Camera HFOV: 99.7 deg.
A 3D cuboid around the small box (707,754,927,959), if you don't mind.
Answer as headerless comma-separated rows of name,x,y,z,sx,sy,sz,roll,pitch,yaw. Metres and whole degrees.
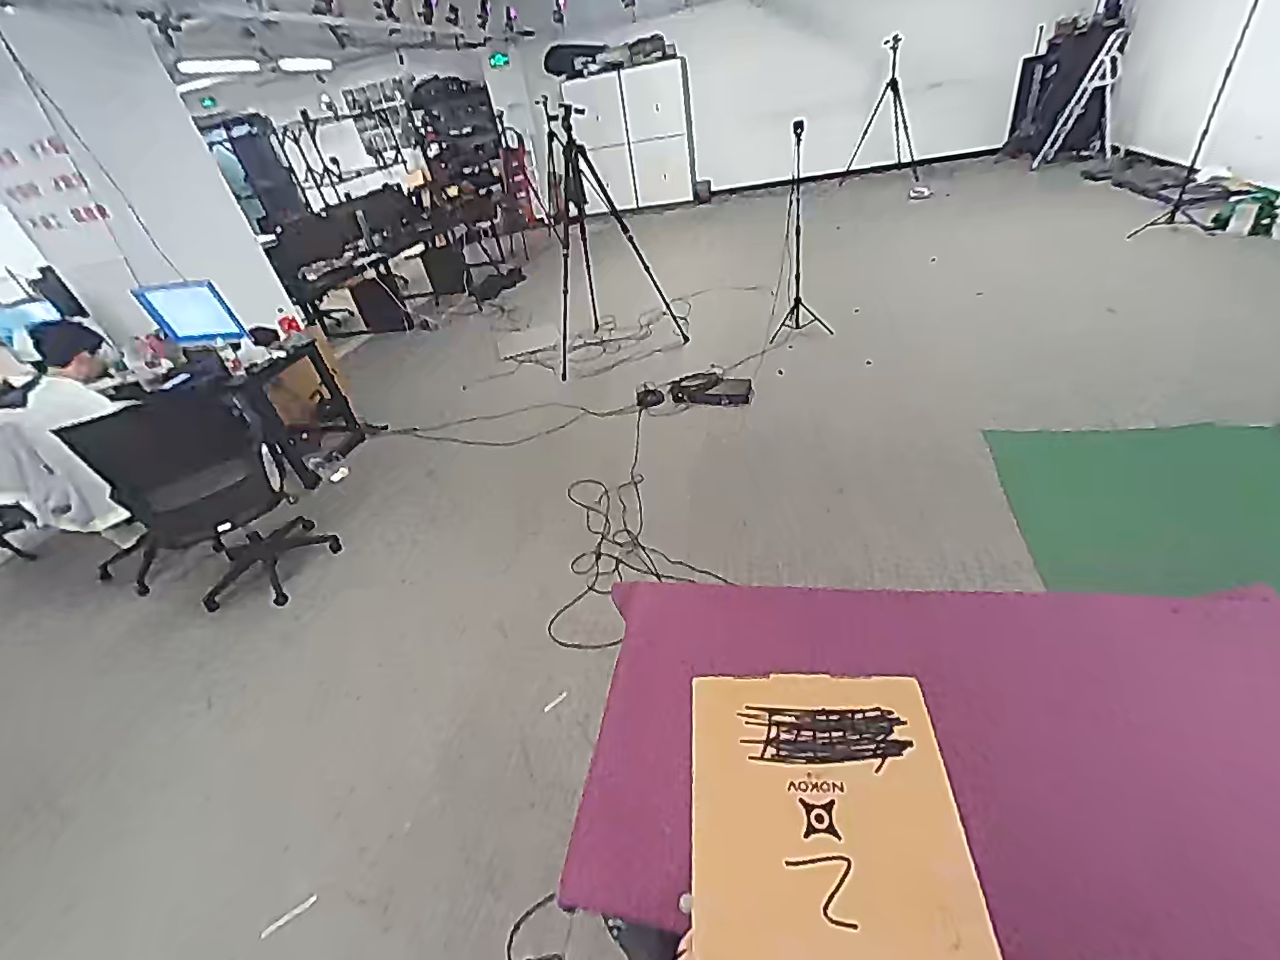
small box,0.152,0.381,0.506,0.168,0.176,0.179,-3,43,10
